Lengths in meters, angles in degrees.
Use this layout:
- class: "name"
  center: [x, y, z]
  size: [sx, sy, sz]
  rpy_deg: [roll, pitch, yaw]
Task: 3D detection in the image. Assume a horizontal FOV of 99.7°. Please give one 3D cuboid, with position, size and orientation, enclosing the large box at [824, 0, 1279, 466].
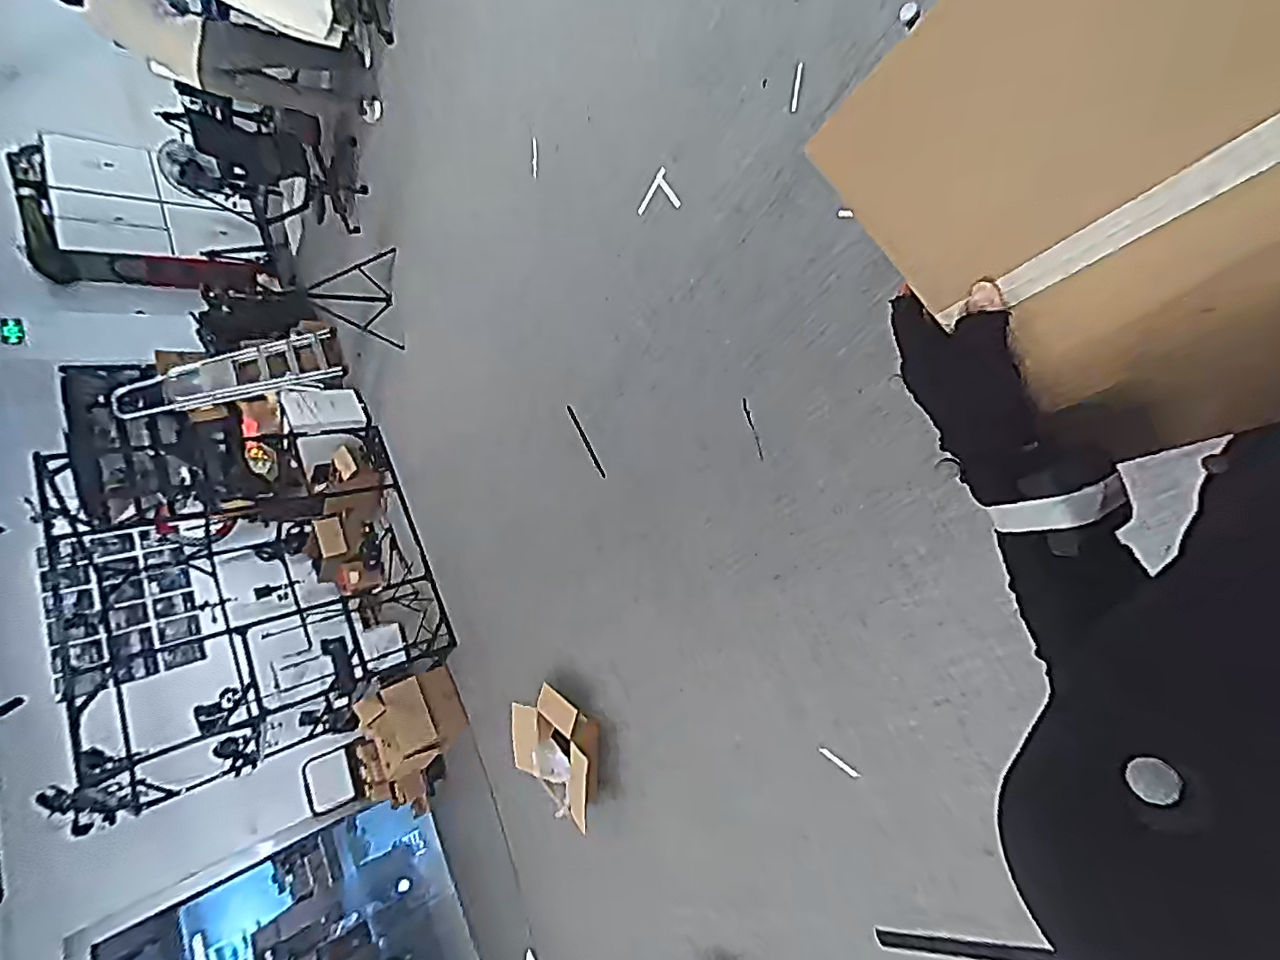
- class: "large box"
  center: [0.402, -0.272, 0.321]
  size: [0.320, 0.320, 0.408]
  rpy_deg: [45, 146, -10]
